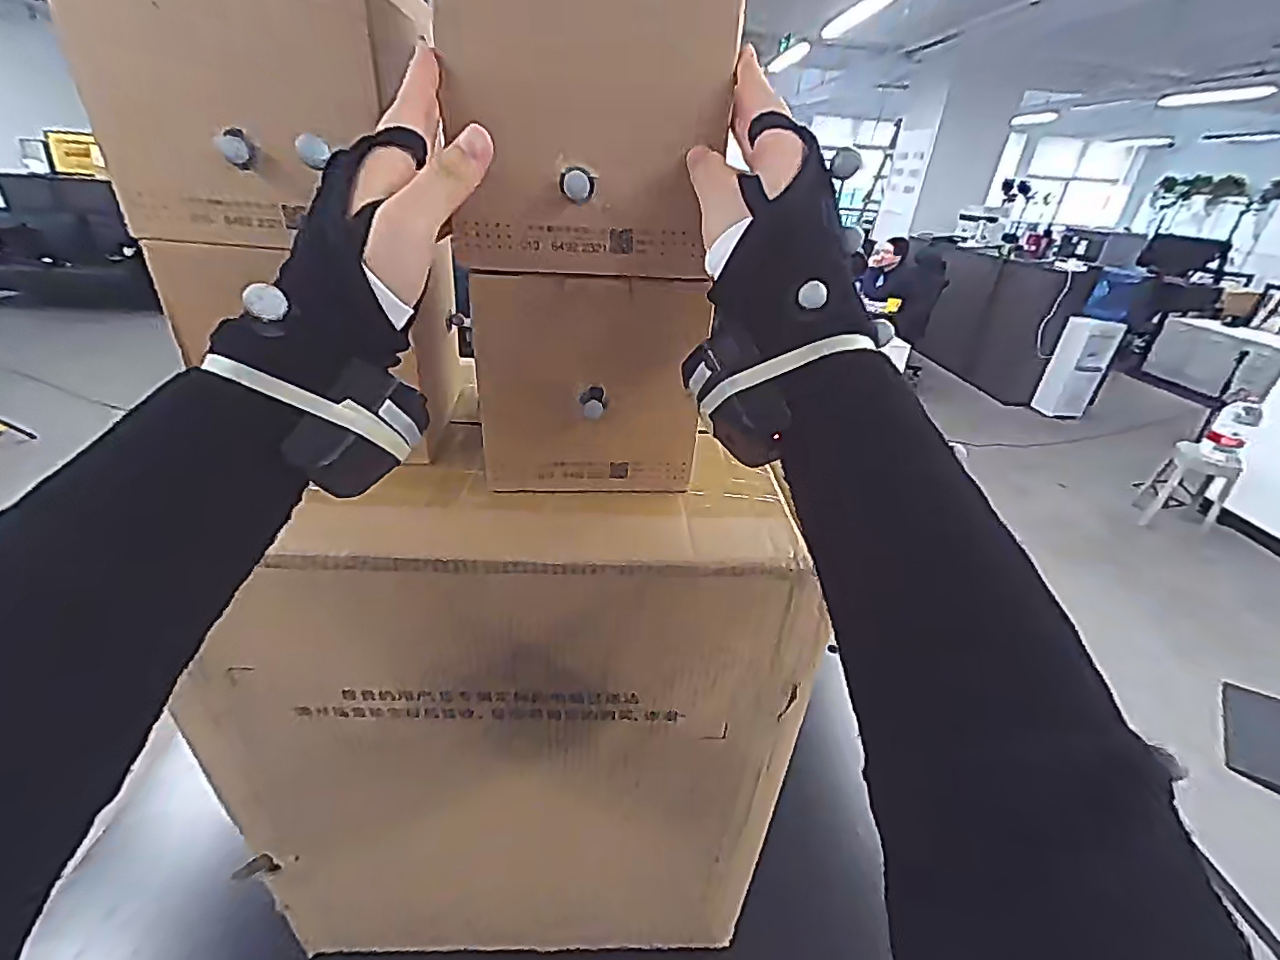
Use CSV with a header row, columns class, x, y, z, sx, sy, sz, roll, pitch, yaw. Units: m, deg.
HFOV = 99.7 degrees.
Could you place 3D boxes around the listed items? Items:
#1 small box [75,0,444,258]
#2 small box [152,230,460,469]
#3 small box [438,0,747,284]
class,x,y,z,sx,sy,sz,roll,pitch,yaw
small box,-0.245,-0.267,0.388,0.168,0.176,0.179,1,30,-7
small box,-0.257,-0.125,0.473,0.168,0.176,0.179,0,32,-9
small box,-0.034,-0.243,0.376,0.168,0.176,0.179,0,31,-5
